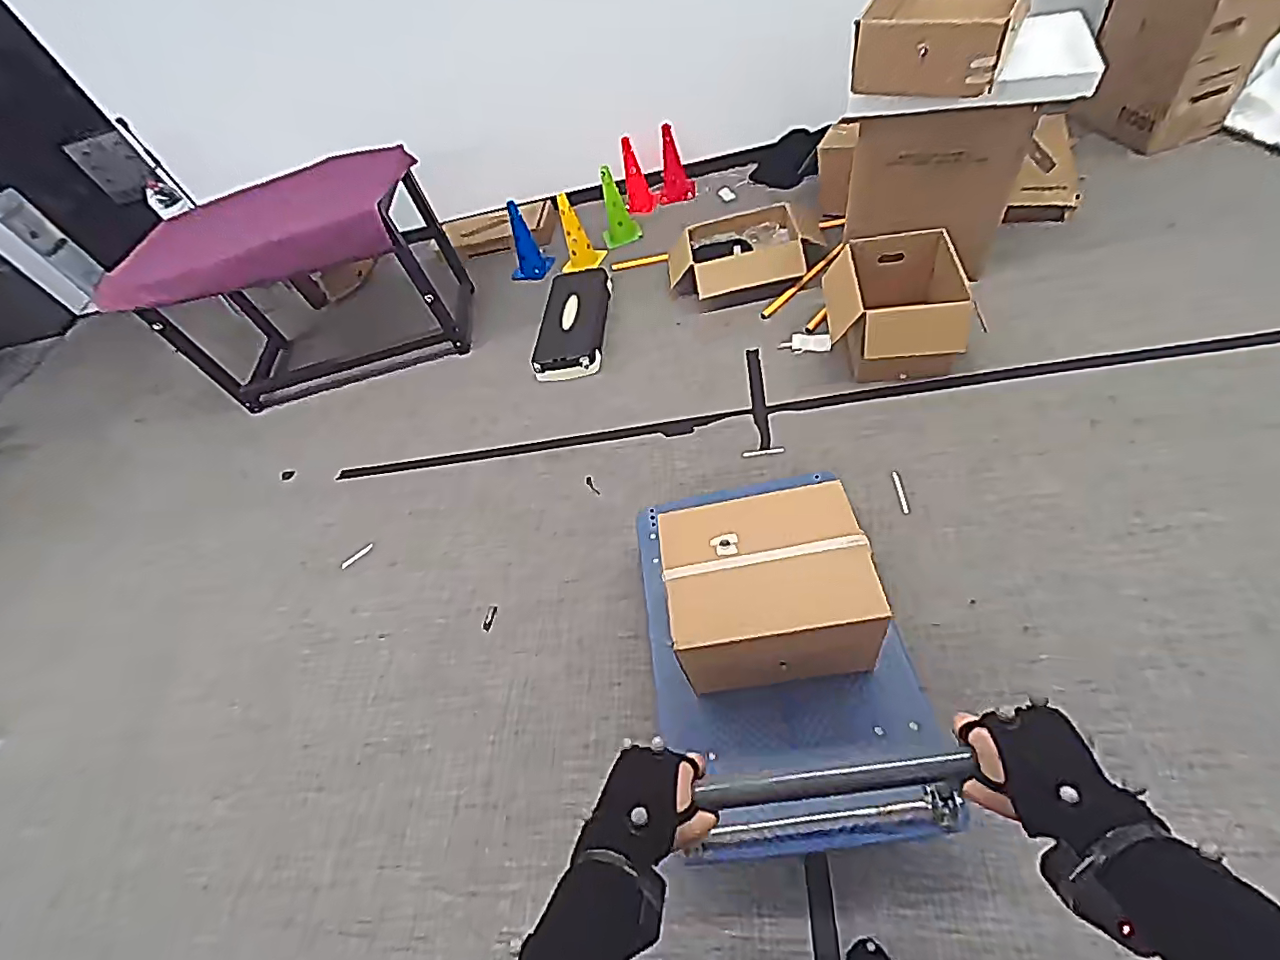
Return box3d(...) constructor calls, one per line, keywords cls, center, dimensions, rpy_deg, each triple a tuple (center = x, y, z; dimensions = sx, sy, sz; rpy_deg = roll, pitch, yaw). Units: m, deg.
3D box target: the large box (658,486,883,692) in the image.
box3d(cls="large box", center=(0.281, 0.259, 1.227), dimensions=(0.408, 0.320, 0.320), rpy_deg=(-12, 51, 8))
